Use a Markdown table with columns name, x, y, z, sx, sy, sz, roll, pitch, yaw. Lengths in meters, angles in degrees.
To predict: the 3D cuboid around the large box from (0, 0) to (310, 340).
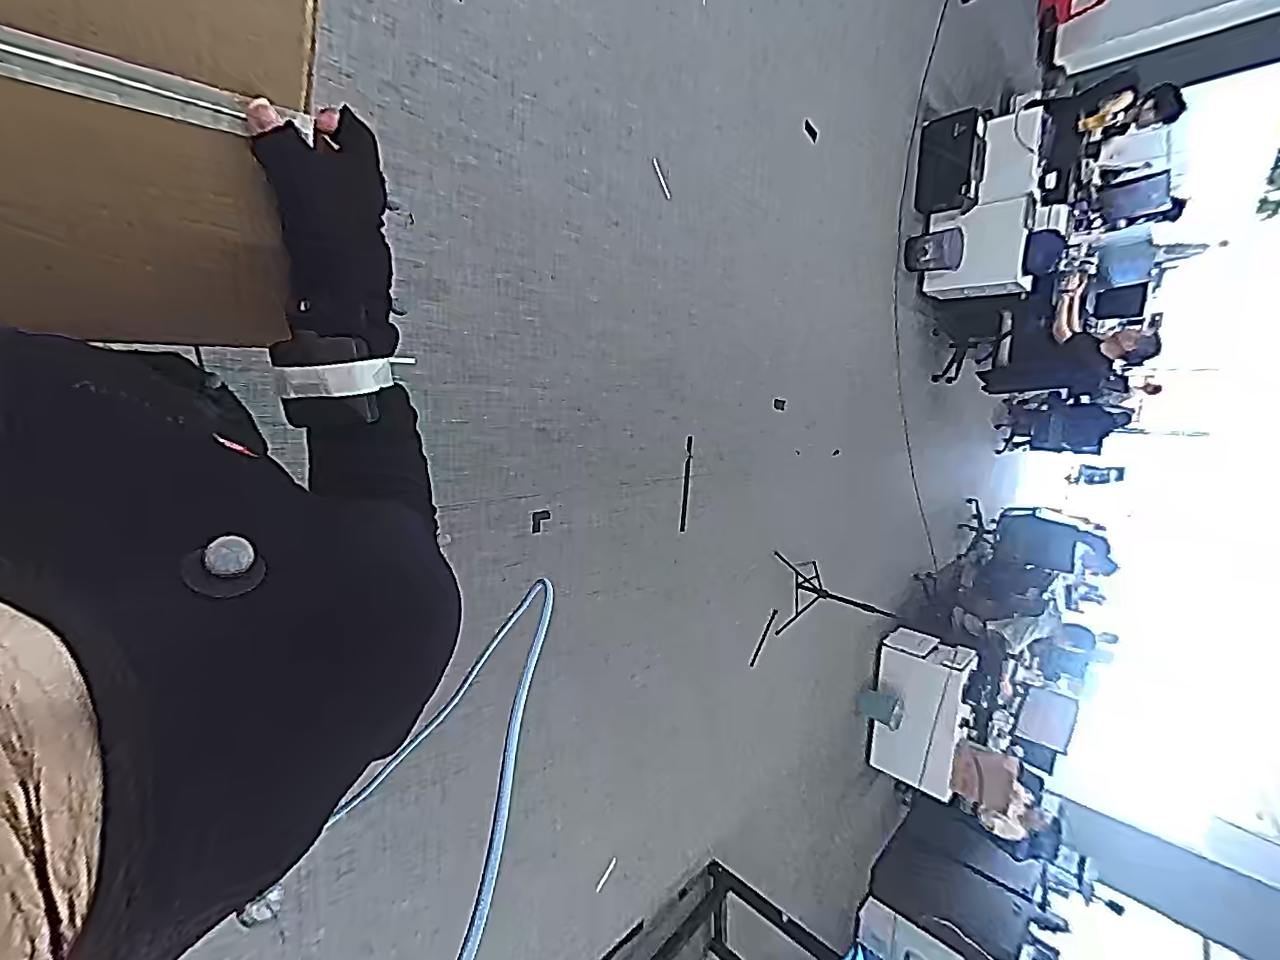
| name | x | y | z | sx | sy | sz | roll | pitch | yaw |
| --- | --- | --- | --- | --- | --- | --- | --- | --- | --- |
| large box | -0.441 | -0.295 | 0.281 | 0.408 | 0.320 | 0.320 | -11 | 140 | -44 |
